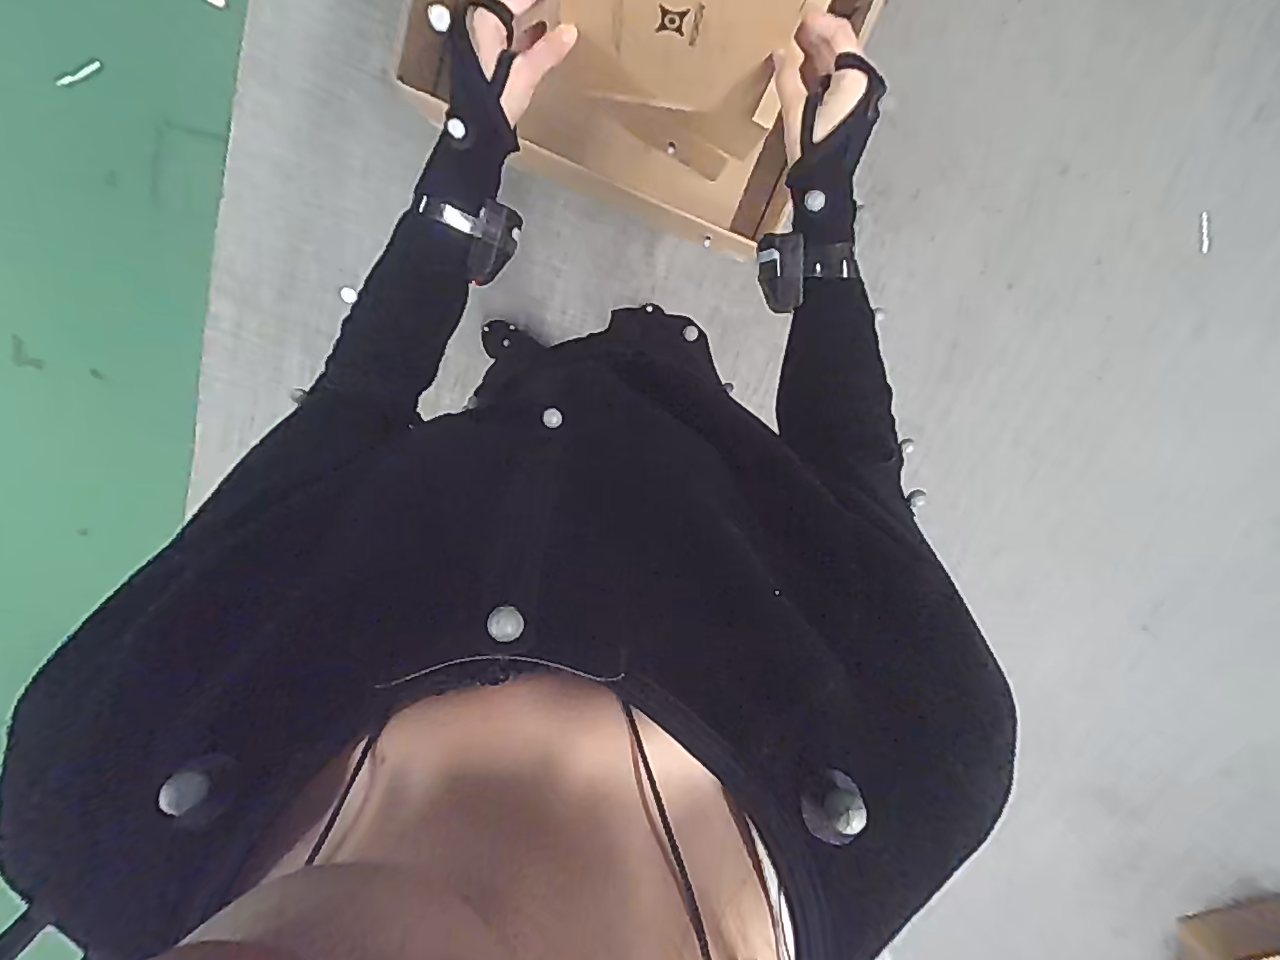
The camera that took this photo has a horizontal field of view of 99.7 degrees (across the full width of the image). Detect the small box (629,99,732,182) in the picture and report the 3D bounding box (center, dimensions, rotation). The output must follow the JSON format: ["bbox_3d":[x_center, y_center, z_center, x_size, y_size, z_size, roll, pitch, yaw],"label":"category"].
[{"bbox_3d":[0.097,-0.587,0.822,0.168,0.176,0.179,26,106,-8],"label":"small box"}]

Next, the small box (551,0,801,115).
[{"bbox_3d":[0.028,-0.418,0.397,0.179,0.168,0.176,5,85,-7],"label":"small box"}]

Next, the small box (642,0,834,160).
[{"bbox_3d":[0.108,-0.530,0.667,0.179,0.176,0.168,24,106,-8],"label":"small box"}]
